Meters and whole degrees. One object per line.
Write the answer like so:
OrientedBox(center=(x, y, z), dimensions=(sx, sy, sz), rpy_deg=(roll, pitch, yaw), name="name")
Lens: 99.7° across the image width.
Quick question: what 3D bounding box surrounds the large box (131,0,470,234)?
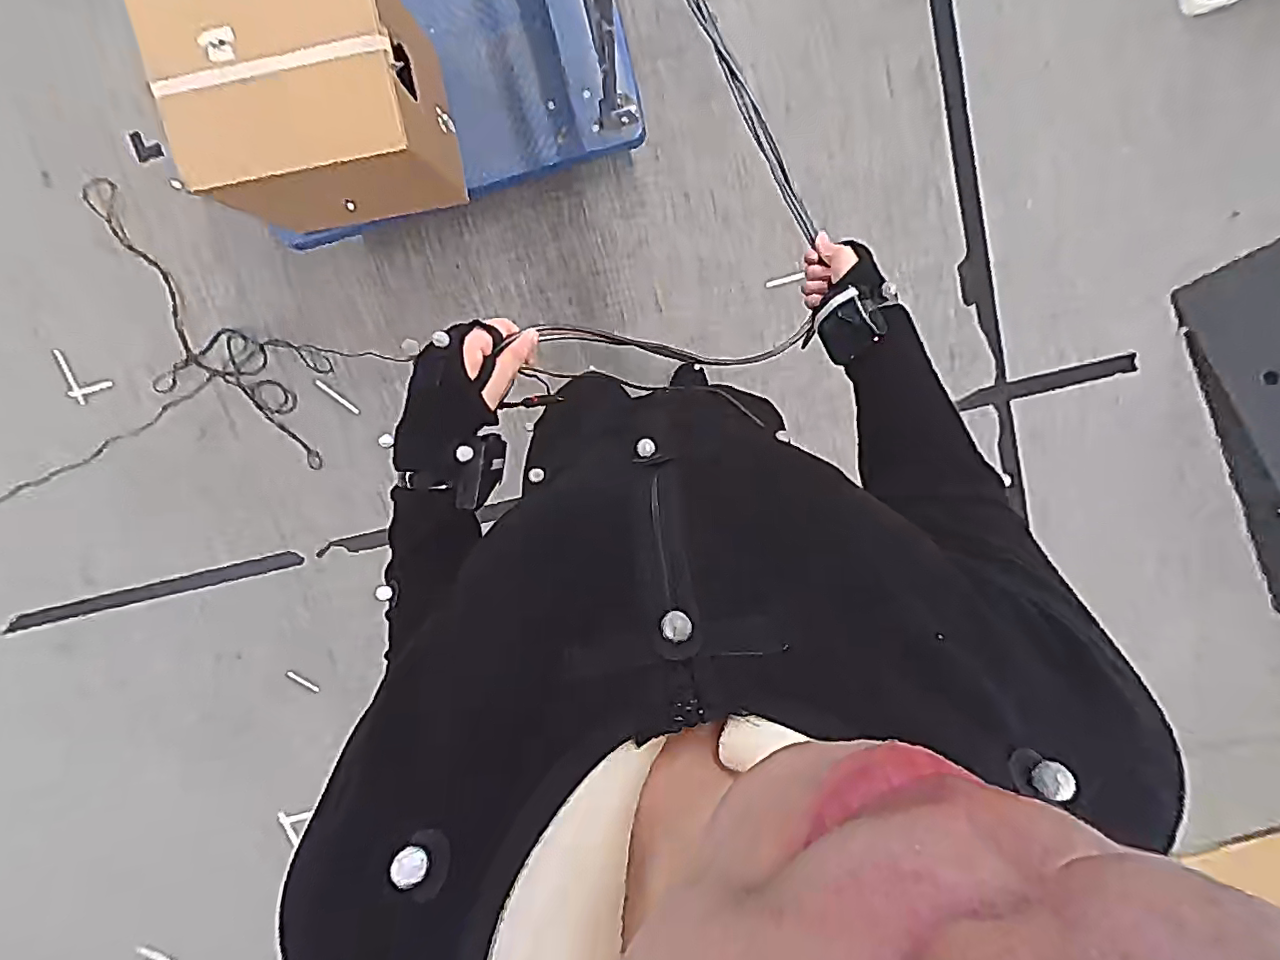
OrientedBox(center=(-0.597, -0.698, 1.032), dimensions=(0.408, 0.320, 0.320), rpy_deg=(-9, 101, 4), name="large box")
